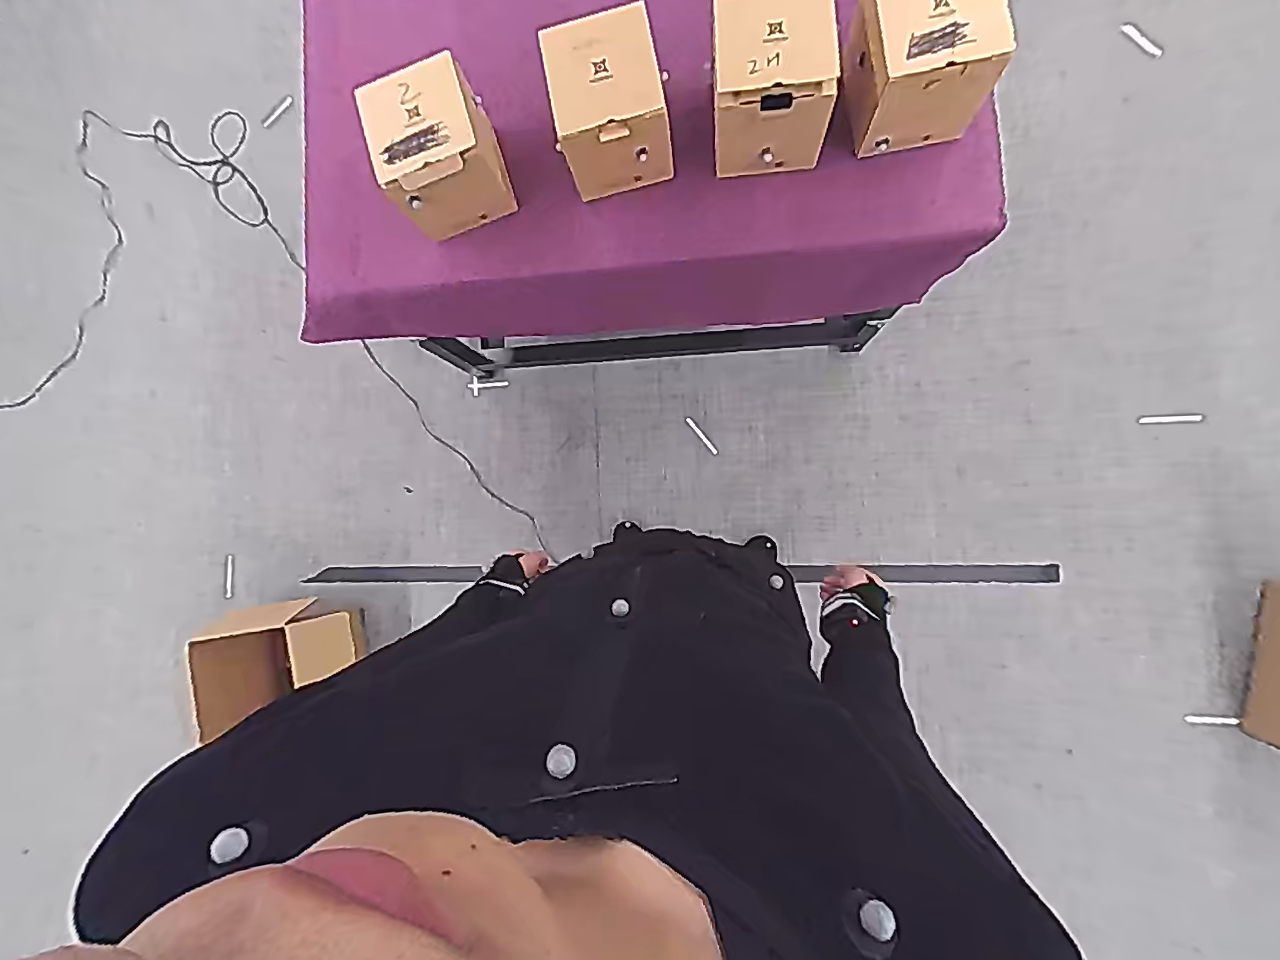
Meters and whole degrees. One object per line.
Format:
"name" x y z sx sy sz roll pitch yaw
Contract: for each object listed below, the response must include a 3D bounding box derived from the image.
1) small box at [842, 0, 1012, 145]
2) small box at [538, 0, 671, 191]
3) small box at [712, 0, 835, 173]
"small box" 0.413 -0.636 0.807 0.168 0.176 0.179 -8 85 7
"small box" -0.048 -0.595 0.867 0.168 0.176 0.179 -11 85 6
"small box" 0.196 -0.613 0.834 0.168 0.176 0.179 -2 87 8
